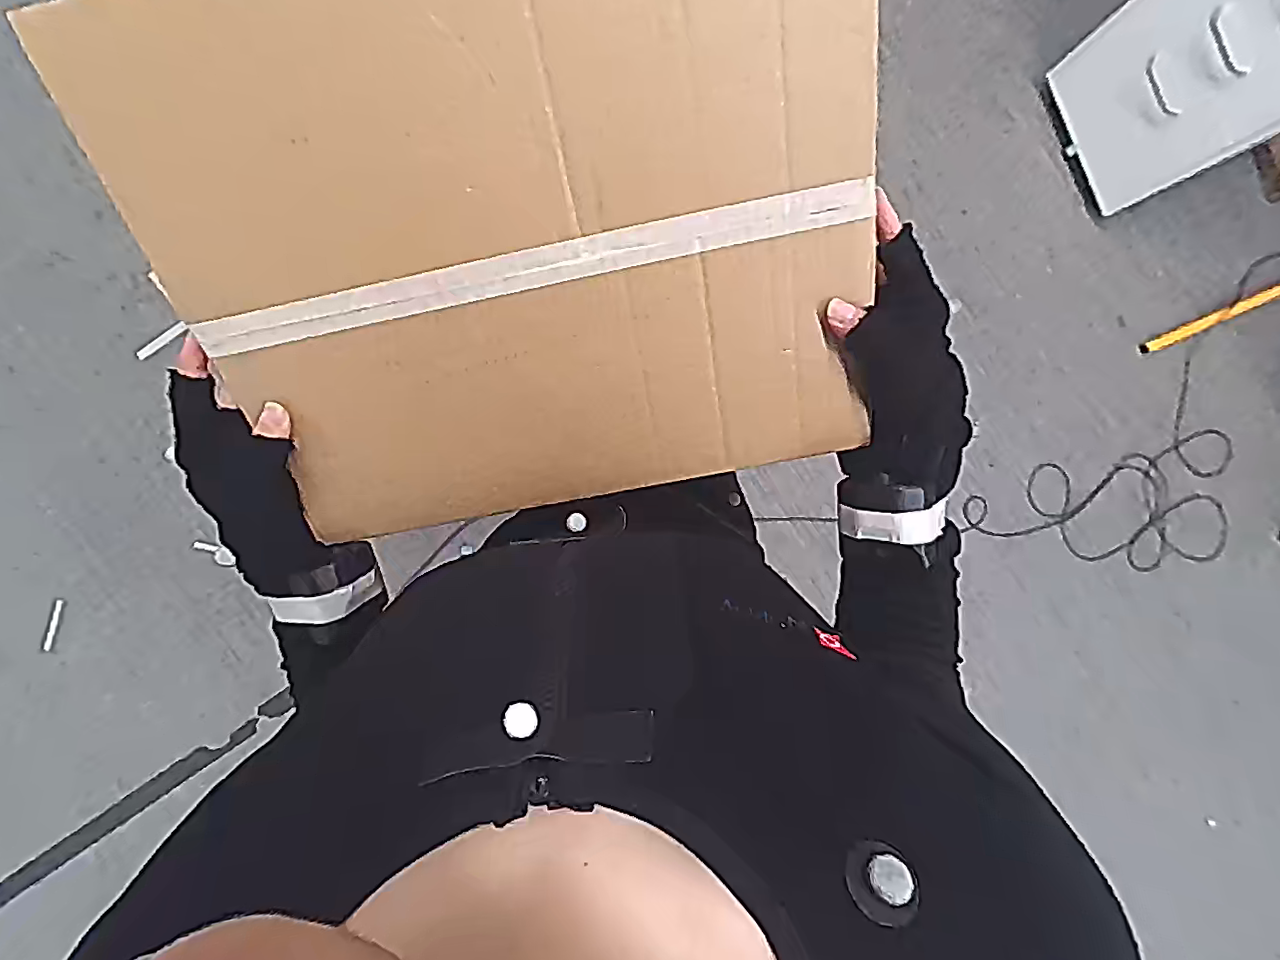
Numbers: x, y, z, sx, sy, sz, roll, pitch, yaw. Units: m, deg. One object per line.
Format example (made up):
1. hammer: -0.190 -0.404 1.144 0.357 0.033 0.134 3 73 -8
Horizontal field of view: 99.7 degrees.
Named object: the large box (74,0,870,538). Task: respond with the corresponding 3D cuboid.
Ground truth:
1. large box: -0.069 -0.193 0.456 0.408 0.320 0.320 -10 120 3
